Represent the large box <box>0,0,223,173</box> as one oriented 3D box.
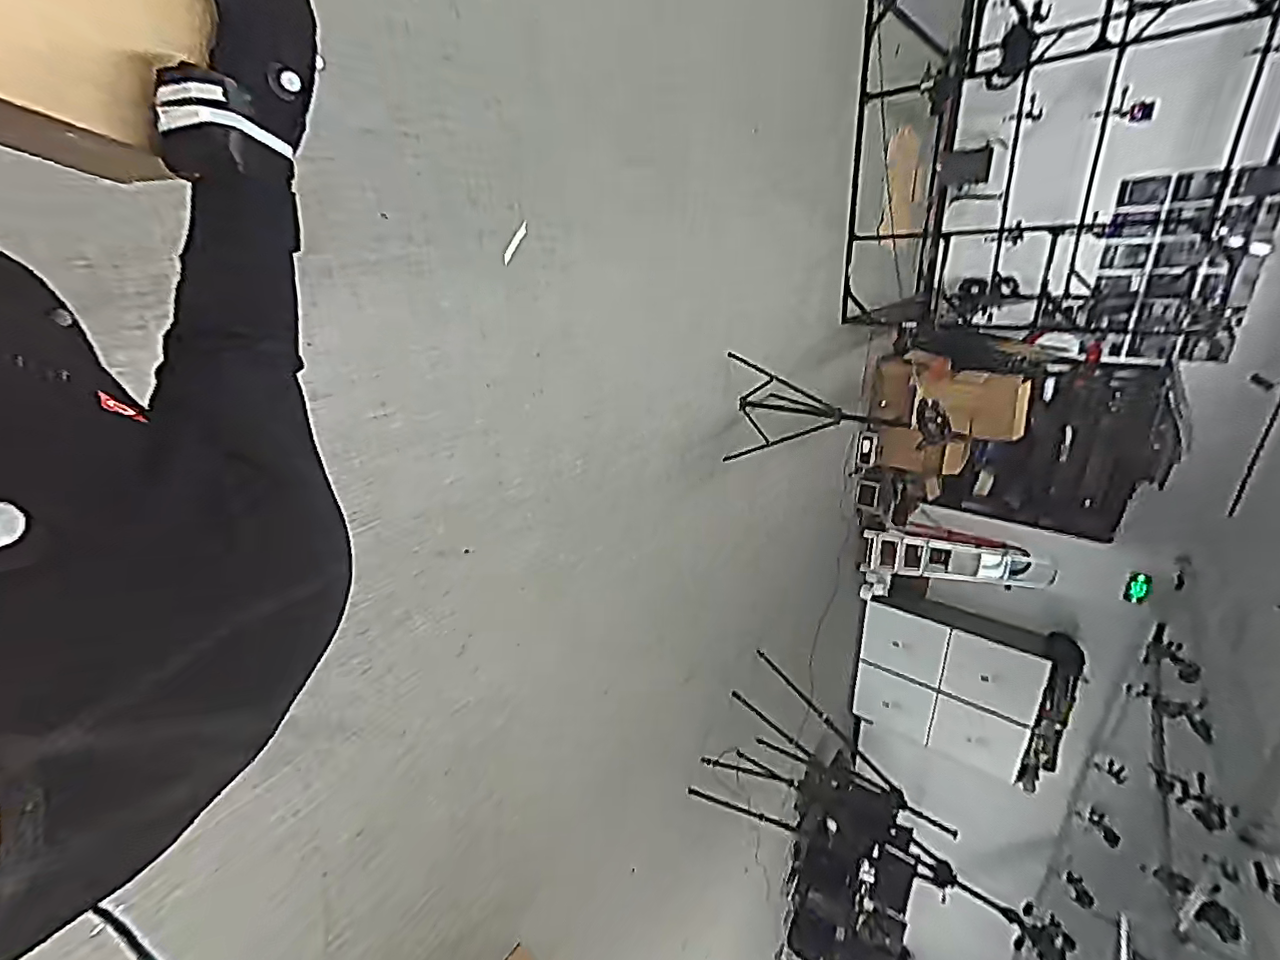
[{"bbox_3d":[-0.545,-0.436,0.328,0.408,0.320,0.320,-2,108,-54],"label":"large box"}]
